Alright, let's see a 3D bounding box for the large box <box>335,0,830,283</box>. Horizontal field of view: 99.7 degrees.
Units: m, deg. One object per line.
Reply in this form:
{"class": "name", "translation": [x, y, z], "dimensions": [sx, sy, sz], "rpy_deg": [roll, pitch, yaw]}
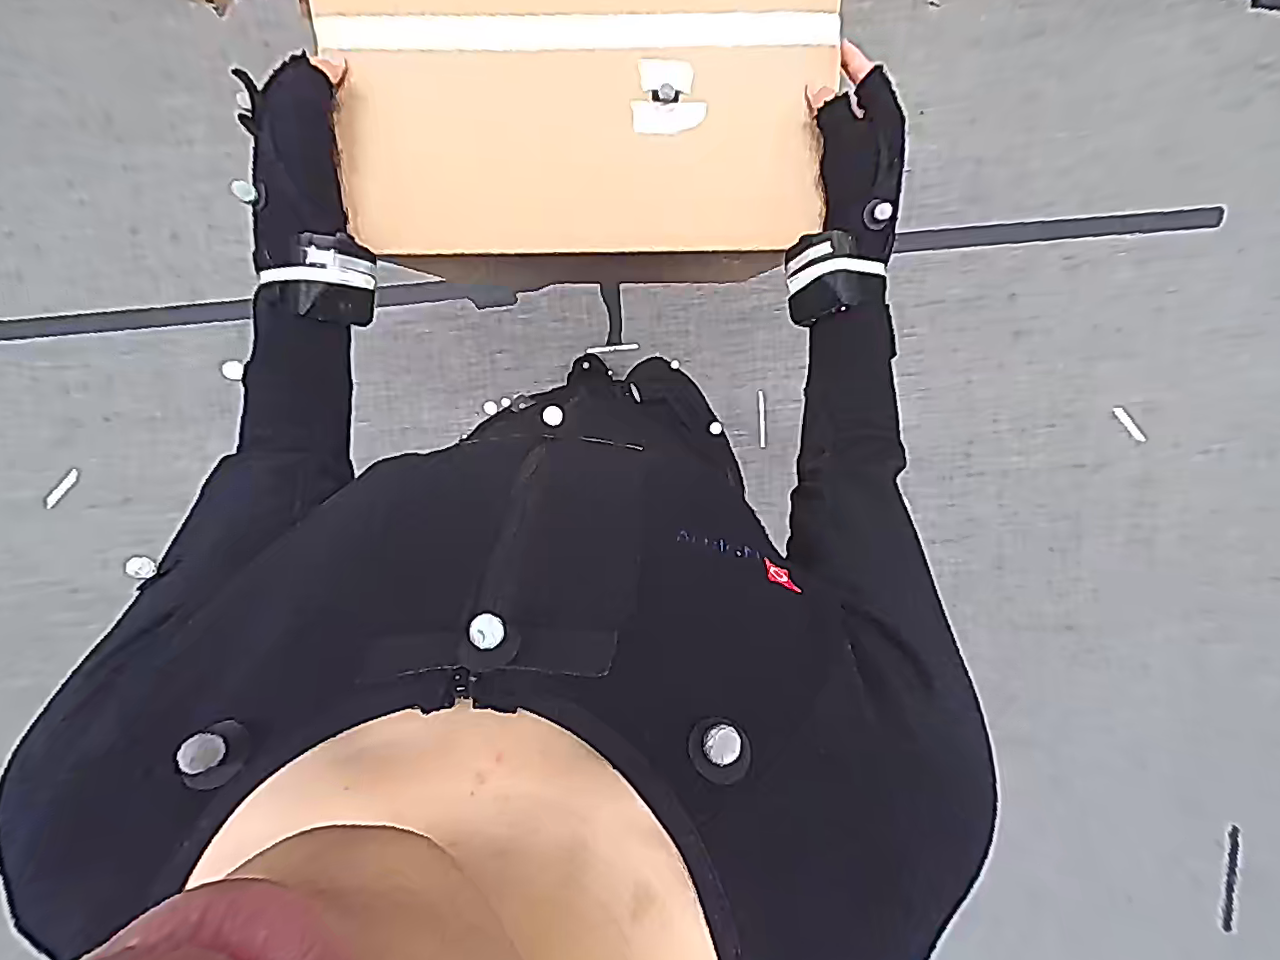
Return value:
{"class": "large box", "translation": [-0.050, -0.396, 0.584], "dimensions": [0.408, 0.320, 0.320], "rpy_deg": [-2, 106, -2]}
